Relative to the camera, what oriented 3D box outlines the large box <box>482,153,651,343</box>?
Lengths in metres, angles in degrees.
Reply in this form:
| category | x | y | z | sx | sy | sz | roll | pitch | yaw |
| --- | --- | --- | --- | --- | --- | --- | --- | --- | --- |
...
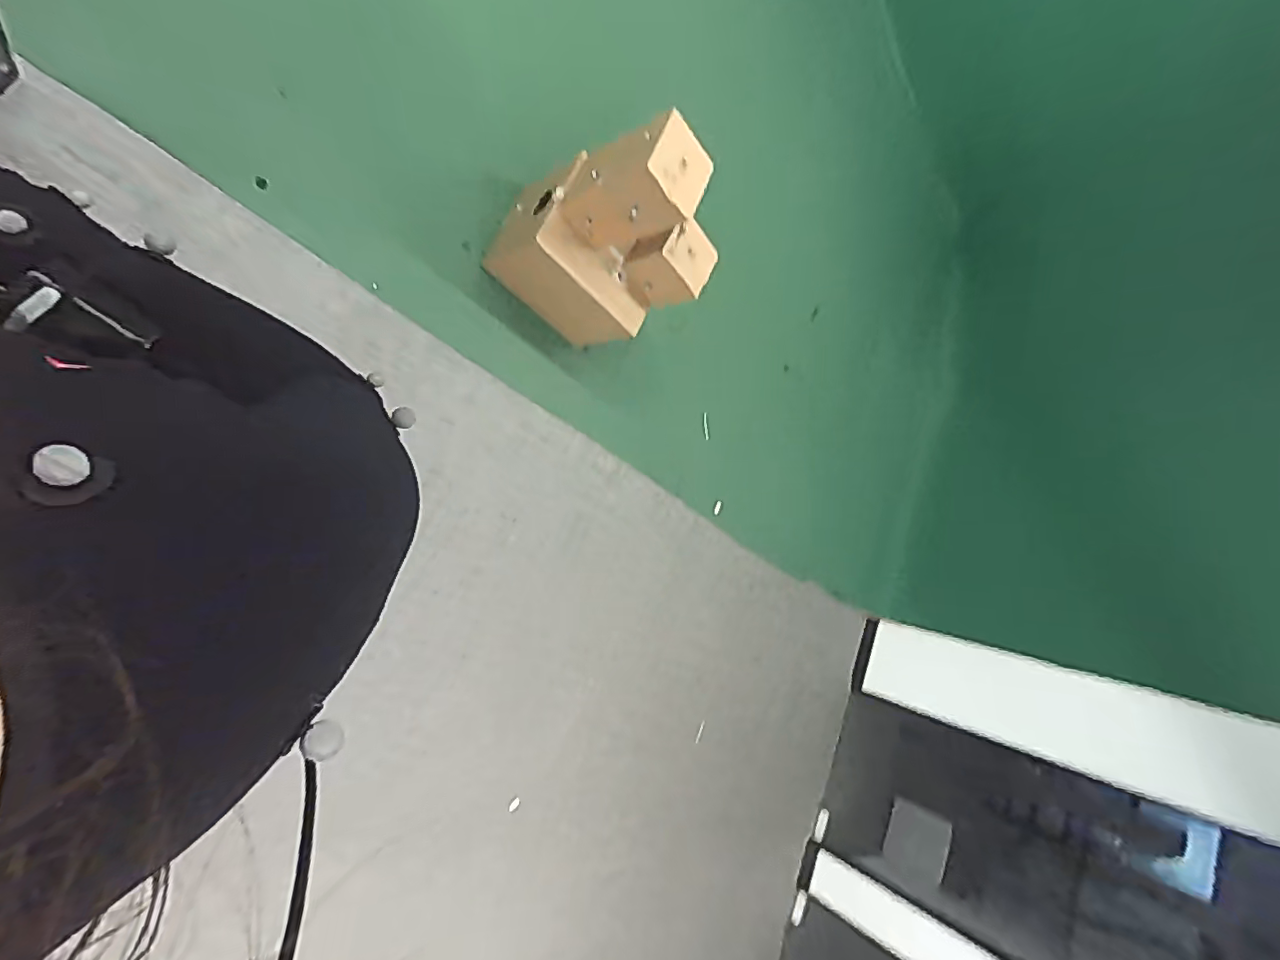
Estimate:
| category | x | y | z | sx | sy | sz | roll | pitch | yaw |
| --- | --- | --- | --- | --- | --- | --- | --- | --- | --- |
| large box | -0.189 | -0.667 | 1.629 | 0.408 | 0.320 | 0.320 | 35 | 72 | -40 |

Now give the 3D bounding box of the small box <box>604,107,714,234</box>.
| category | x | y | z | sx | sy | sz | roll | pitch | yaw |
| --- | --- | --- | --- | --- | --- | --- | --- | --- | --- |
| small box | 0.042 | -0.721 | 1.279 | 0.168 | 0.176 | 0.179 | 34 | 72 | -40 |

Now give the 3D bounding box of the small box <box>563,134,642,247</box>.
| category | x | y | z | sx | sy | sz | roll | pitch | yaw |
| --- | --- | --- | --- | --- | --- | --- | --- | --- | --- |
| small box | -0.072 | -0.738 | 1.398 | 0.168 | 0.176 | 0.179 | 36 | 71 | -40 |

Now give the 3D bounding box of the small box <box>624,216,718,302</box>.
| category | x | y | z | sx | sy | sz | roll | pitch | yaw |
| --- | --- | --- | --- | --- | --- | --- | --- | --- | --- |
| small box | 0.089 | -0.633 | 1.556 | 0.179 | 0.176 | 0.168 | 41 | 67 | -37 |
